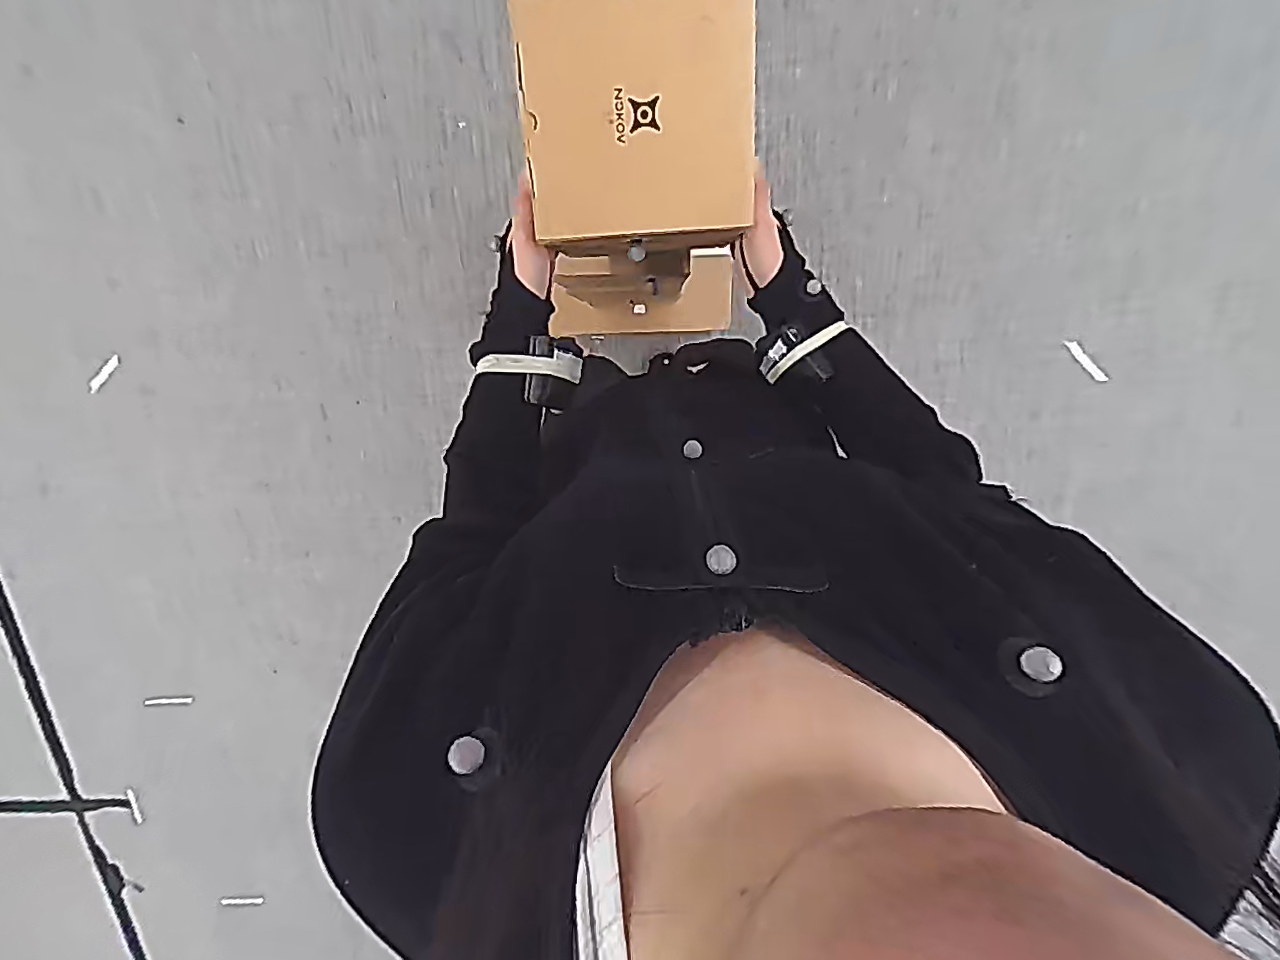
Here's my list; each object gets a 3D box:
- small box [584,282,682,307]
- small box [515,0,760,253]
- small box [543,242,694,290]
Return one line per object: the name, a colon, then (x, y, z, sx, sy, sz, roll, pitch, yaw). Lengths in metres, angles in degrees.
small box: (-0.014, -0.416, 1.007, 0.179, 0.176, 0.168, -4, 105, 1)
small box: (0.005, -0.299, 0.480, 0.179, 0.176, 0.168, -2, 109, 4)
small box: (-0.025, -0.338, 0.688, 0.179, 0.176, 0.168, 0, 104, 1)
